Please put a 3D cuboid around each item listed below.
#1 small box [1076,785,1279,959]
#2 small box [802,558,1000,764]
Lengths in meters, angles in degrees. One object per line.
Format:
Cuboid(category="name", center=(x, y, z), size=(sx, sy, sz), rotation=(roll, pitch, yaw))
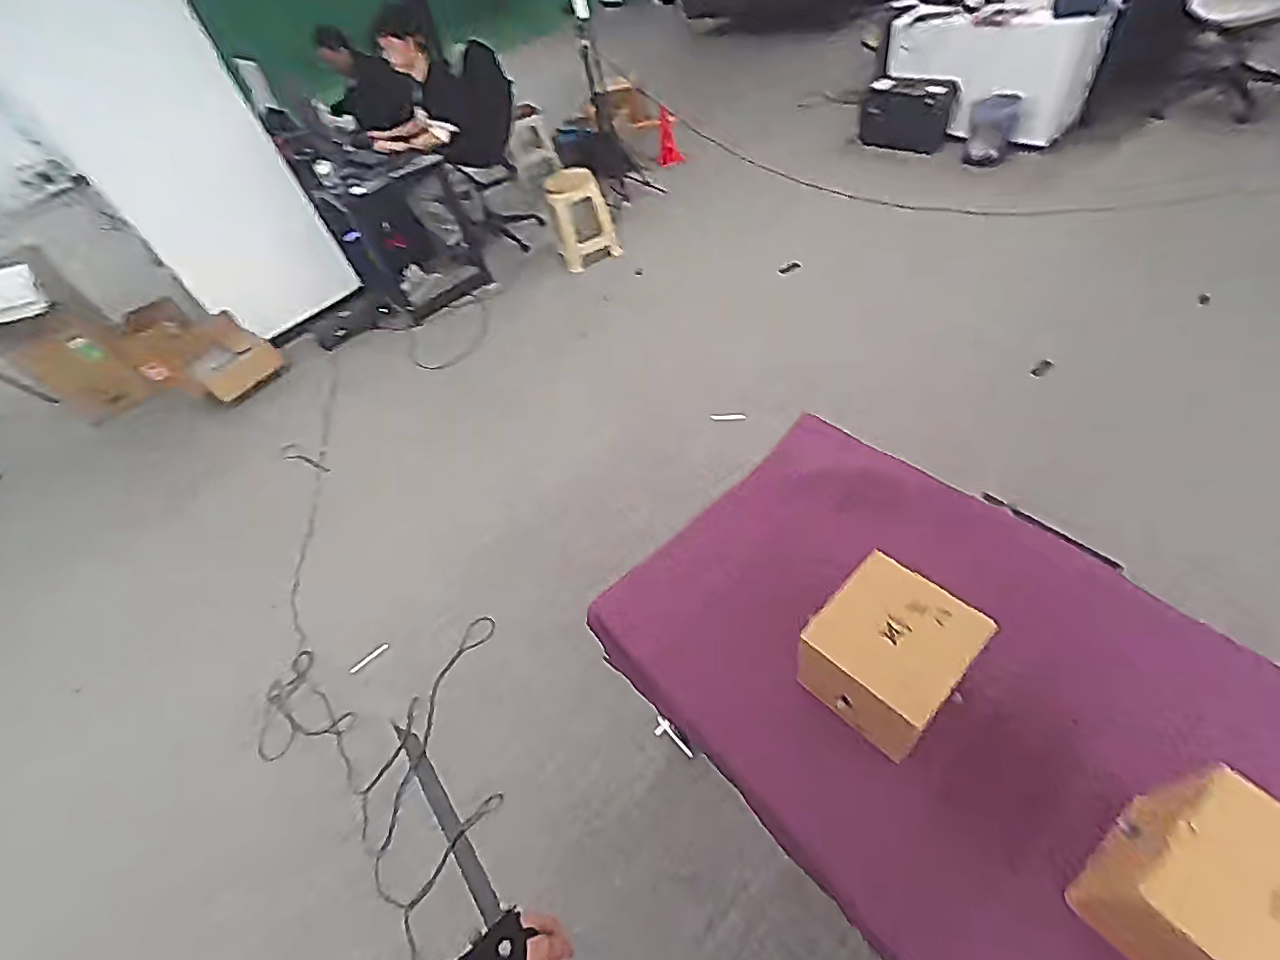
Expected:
Cuboid(category="small box", center=(0.579, 0.436, 0.515), size=(0.168, 0.176, 0.179), rotation=(-36, 50, -16))
Cuboid(category="small box", center=(0.340, 0.248, 0.734), size=(0.179, 0.176, 0.168), rotation=(-39, 52, -18))
